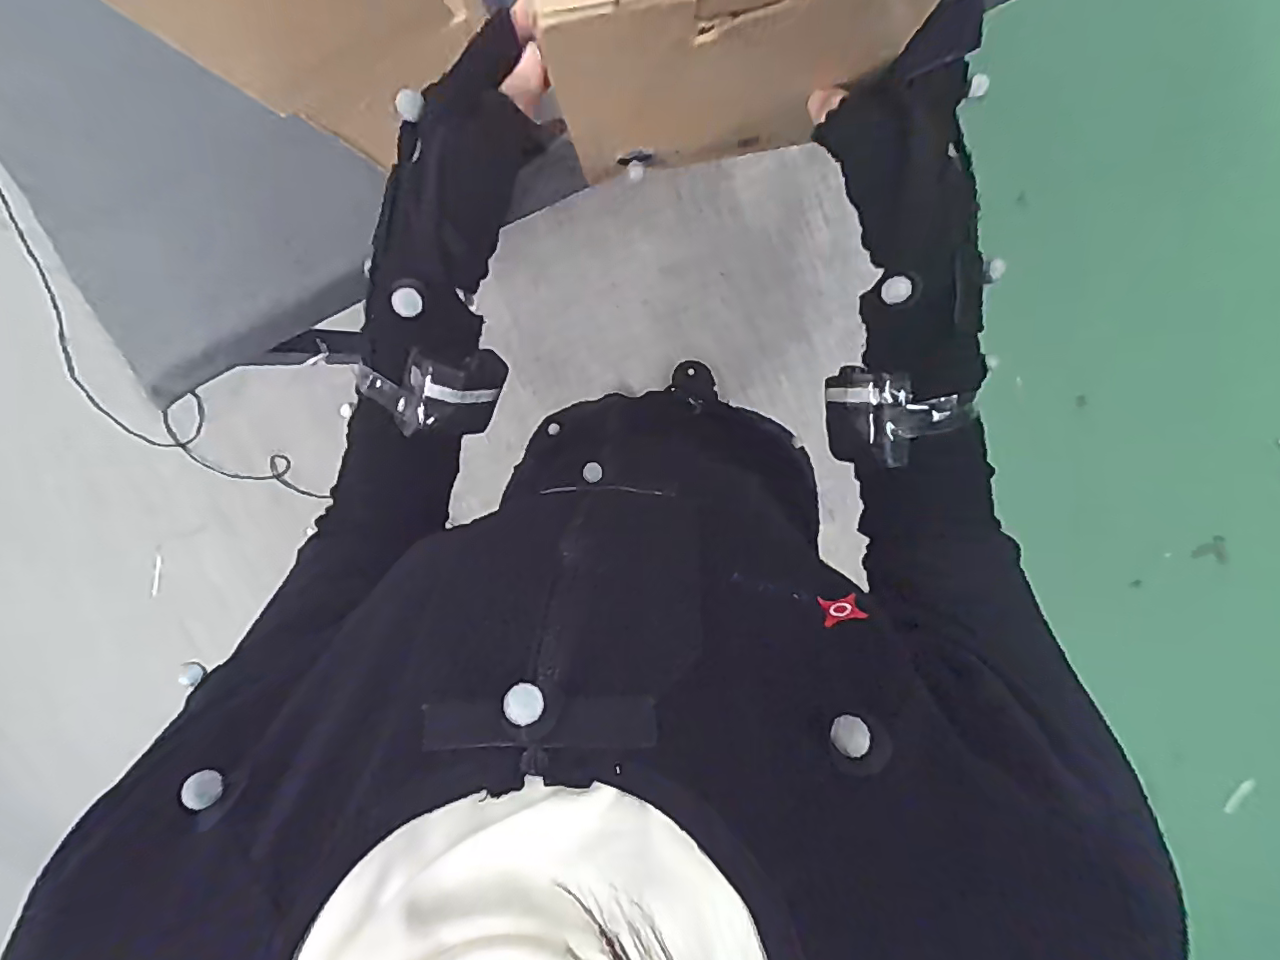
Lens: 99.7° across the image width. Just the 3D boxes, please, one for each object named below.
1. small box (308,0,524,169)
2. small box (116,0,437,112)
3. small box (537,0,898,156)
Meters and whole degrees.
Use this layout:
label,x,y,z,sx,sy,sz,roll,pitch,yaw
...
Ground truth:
label,x,y,z,sx,sy,sz,roll,pitch,yaw
small box,-0.243,-0.448,0.536,0.179,0.176,0.168,-21,98,9
small box,-0.269,-0.412,0.379,0.179,0.176,0.168,-22,97,10
small box,0.031,-0.285,0.262,0.168,0.176,0.179,-9,98,3
